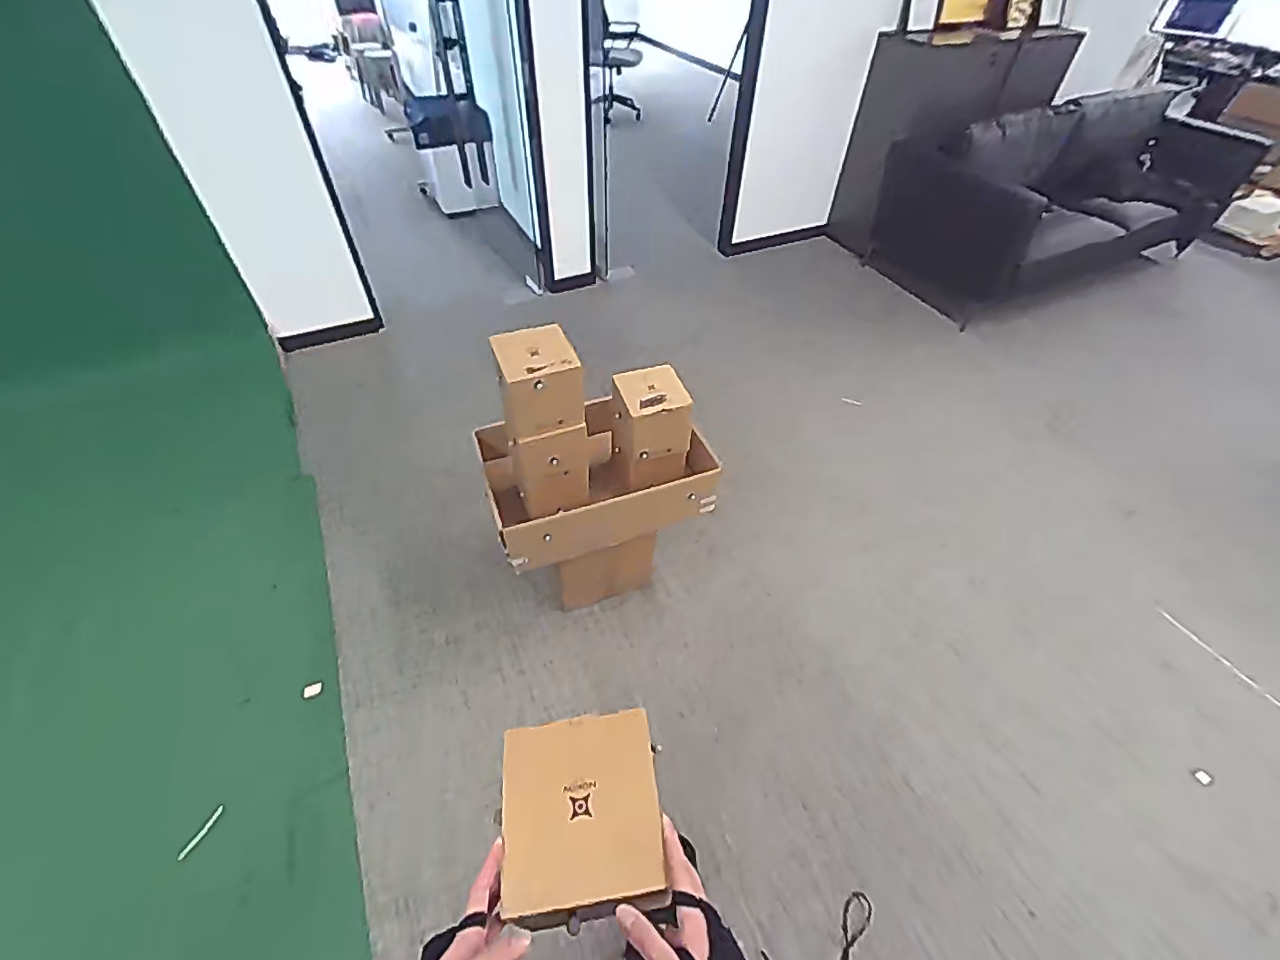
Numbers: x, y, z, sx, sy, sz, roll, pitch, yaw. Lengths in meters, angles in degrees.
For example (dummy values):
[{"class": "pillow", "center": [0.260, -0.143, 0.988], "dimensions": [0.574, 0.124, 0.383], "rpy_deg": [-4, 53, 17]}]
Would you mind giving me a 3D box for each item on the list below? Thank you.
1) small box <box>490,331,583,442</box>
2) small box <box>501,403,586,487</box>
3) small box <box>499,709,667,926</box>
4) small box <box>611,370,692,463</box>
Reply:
[{"class": "small box", "center": [-0.237, -0.217, 1.252], "dimensions": [0.168, 0.176, 0.179], "rpy_deg": [-17, 51, -17]}, {"class": "small box", "center": [-0.240, -0.101, 1.367], "dimensions": [0.168, 0.176, 0.179], "rpy_deg": [-16, 51, -17]}, {"class": "small box", "center": [-0.061, 0.397, 0.632], "dimensions": [0.168, 0.176, 0.179], "rpy_deg": [-8, 46, -5]}, {"class": "small box", "center": [0.027, -0.162, 1.438], "dimensions": [0.168, 0.176, 0.179], "rpy_deg": [-14, 49, -14]}]
